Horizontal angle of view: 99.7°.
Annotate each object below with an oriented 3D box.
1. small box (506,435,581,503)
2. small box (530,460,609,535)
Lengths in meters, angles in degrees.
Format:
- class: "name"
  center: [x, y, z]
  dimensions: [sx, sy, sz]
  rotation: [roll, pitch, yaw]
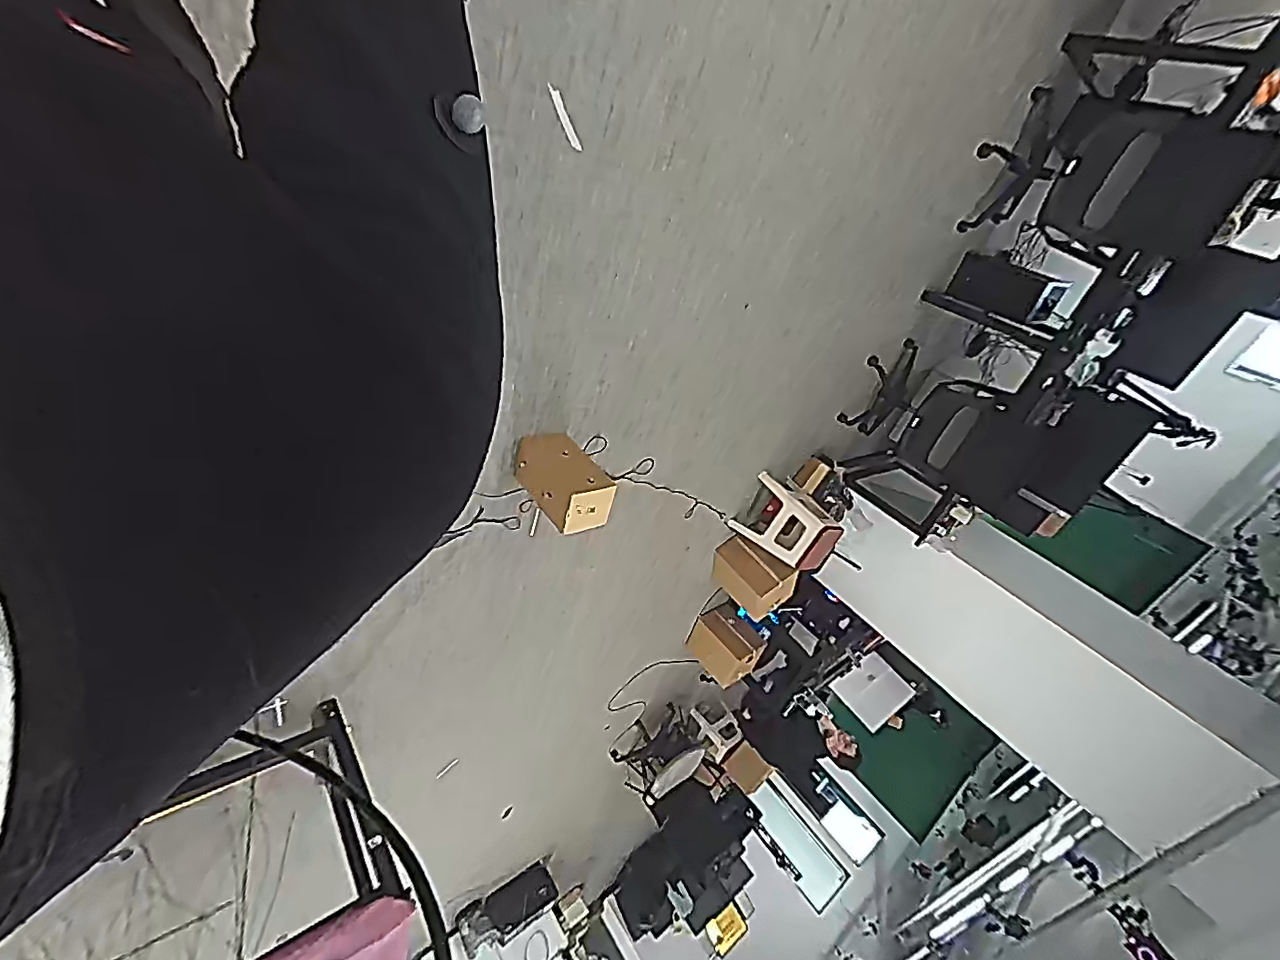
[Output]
- class: "small box"
  center: [-0.333, -0.044, 1.859]
  dimensions: [0.179, 0.176, 0.168]
  rotation: [-10, 131, -40]
- class: "small box"
  center: [-0.234, 0.049, 1.766]
  dimensions: [0.179, 0.176, 0.168]
  rotation: [-12, 131, -40]
